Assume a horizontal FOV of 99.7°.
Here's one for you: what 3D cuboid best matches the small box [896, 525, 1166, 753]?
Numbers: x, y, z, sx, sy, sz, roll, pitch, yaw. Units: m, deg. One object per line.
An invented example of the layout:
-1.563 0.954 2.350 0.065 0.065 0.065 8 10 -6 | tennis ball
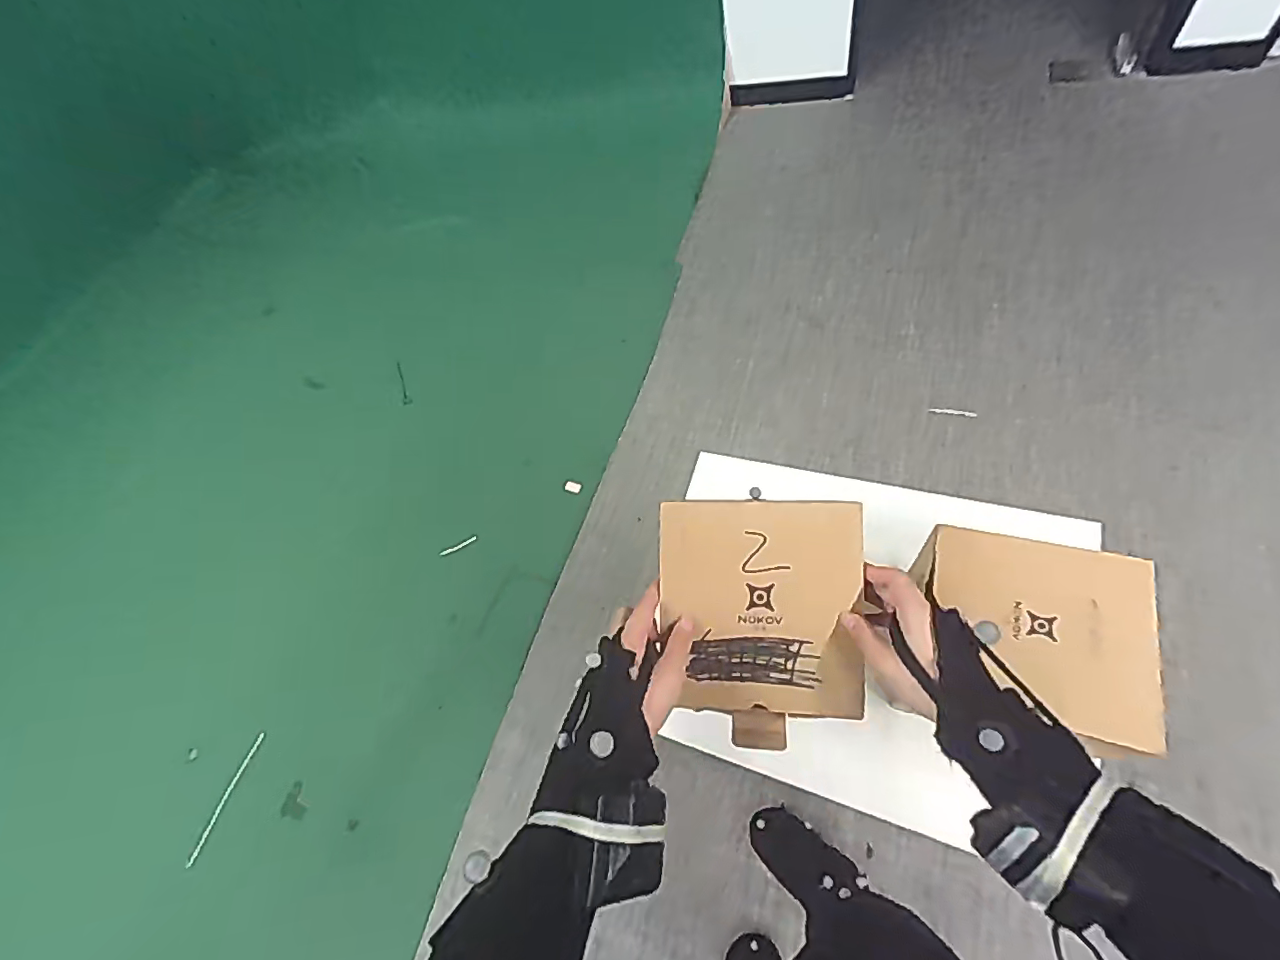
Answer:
0.370 0.164 0.545 0.179 0.176 0.168 10 67 20 | small box
